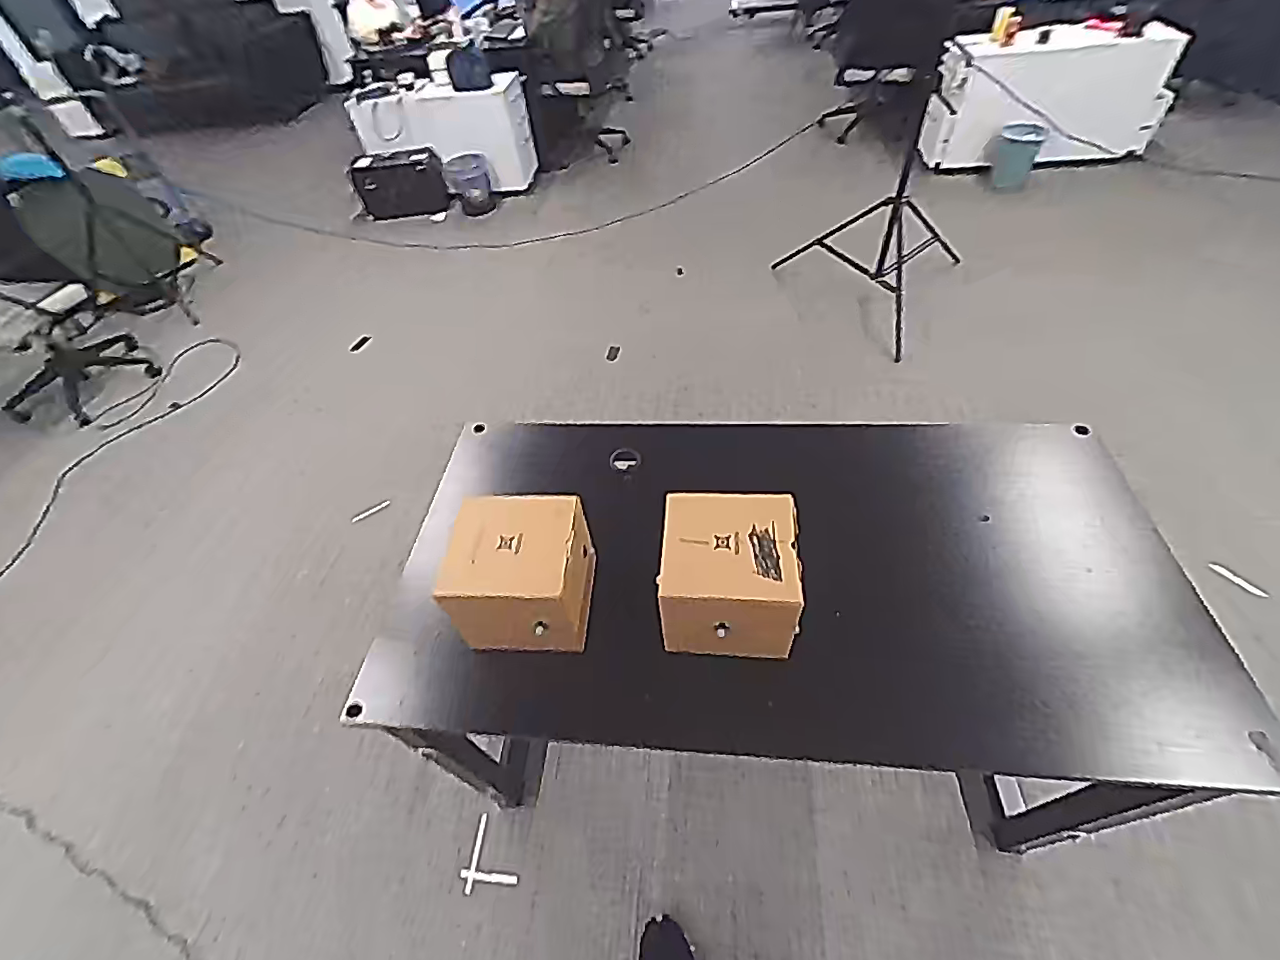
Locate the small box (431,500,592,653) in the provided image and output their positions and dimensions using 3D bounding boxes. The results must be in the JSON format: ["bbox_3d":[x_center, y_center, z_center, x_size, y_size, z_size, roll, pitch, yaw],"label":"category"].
[{"bbox_3d":[-0.173,0.145,0.799,0.179,0.176,0.168,-2,49,6],"label":"small box"}]

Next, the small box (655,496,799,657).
[{"bbox_3d":[0.121,0.139,0.767,0.179,0.176,0.168,1,50,9],"label":"small box"}]
